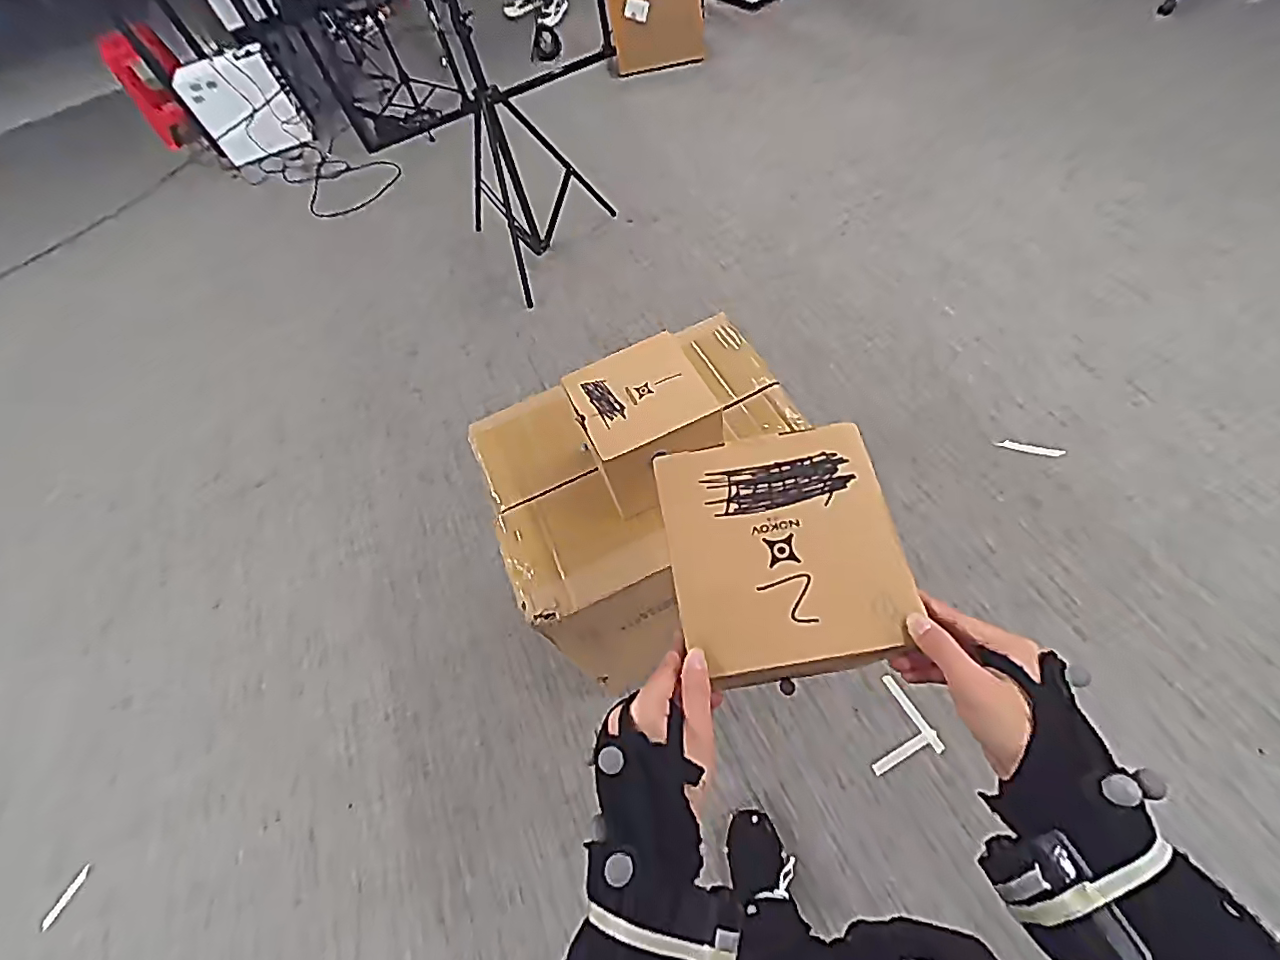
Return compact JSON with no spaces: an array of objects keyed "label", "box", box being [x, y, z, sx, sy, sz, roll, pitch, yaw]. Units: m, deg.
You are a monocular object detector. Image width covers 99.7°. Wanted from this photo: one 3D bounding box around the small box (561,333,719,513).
[{"label":"small box","box":[0.007,-0.077,0.805,0.179,0.176,0.168,-25,59,-6]}]
